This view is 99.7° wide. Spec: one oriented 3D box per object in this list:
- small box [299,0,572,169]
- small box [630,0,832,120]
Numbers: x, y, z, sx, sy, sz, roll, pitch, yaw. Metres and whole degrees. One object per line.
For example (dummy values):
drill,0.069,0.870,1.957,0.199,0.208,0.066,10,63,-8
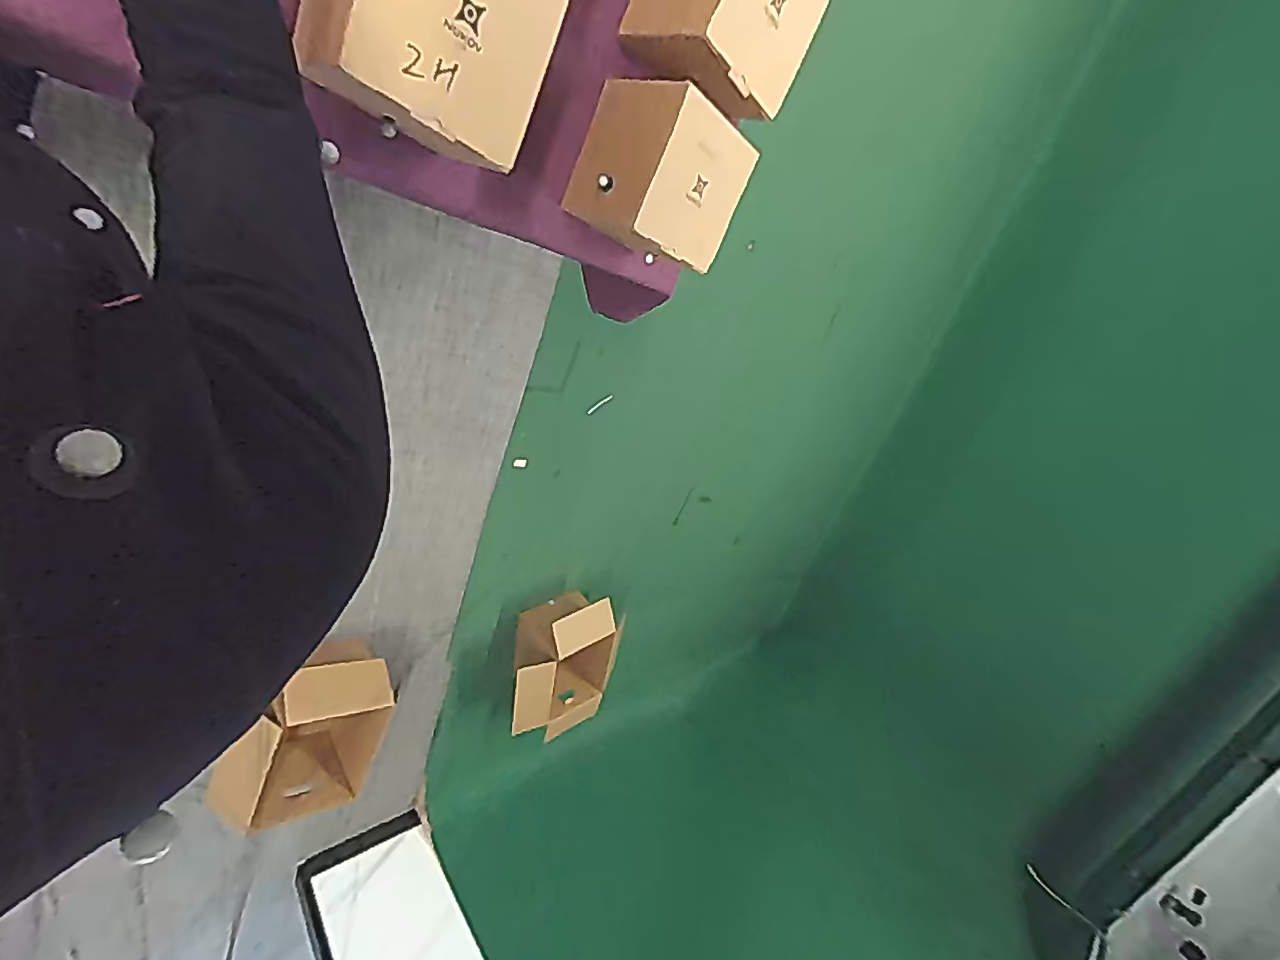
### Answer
small box,-0.197,-0.433,0.511,0.168,0.176,0.179,7,113,-49
small box,0.112,-0.608,0.696,0.168,0.176,0.179,10,113,-50
